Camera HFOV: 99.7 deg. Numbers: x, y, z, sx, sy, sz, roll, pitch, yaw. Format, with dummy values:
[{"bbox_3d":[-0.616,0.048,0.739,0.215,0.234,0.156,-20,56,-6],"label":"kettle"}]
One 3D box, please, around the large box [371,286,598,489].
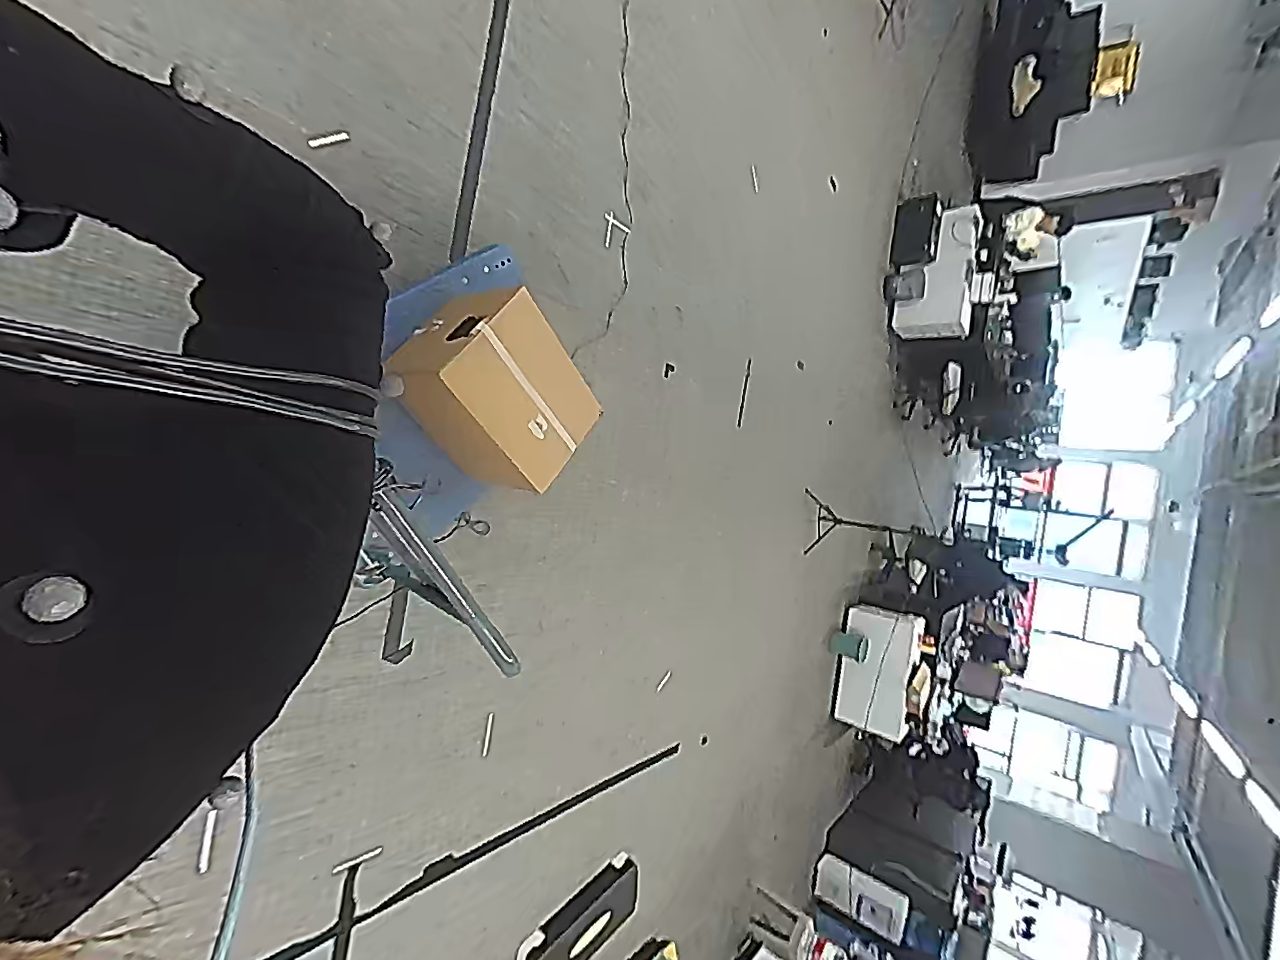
[{"bbox_3d":[-0.385,-0.231,1.400,0.320,0.320,0.408,-57,136,-26],"label":"large box"}]
